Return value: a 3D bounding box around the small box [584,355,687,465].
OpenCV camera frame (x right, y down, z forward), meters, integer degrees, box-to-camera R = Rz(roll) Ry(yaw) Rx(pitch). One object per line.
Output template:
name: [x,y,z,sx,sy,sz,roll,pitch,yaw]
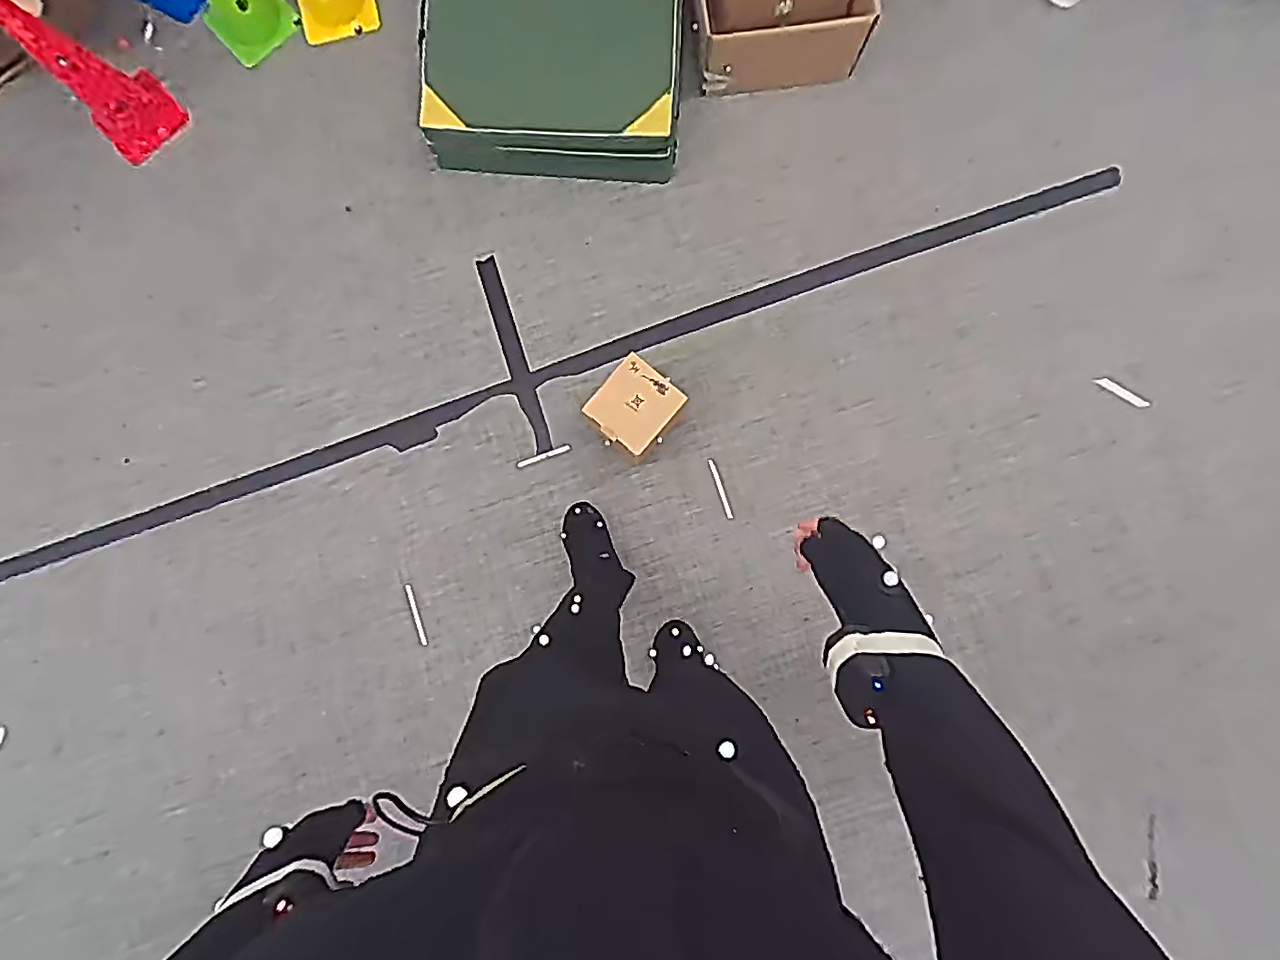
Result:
small box: [-0.007,-0.154,1.267,0.168,0.176,0.179,38,86,4]
